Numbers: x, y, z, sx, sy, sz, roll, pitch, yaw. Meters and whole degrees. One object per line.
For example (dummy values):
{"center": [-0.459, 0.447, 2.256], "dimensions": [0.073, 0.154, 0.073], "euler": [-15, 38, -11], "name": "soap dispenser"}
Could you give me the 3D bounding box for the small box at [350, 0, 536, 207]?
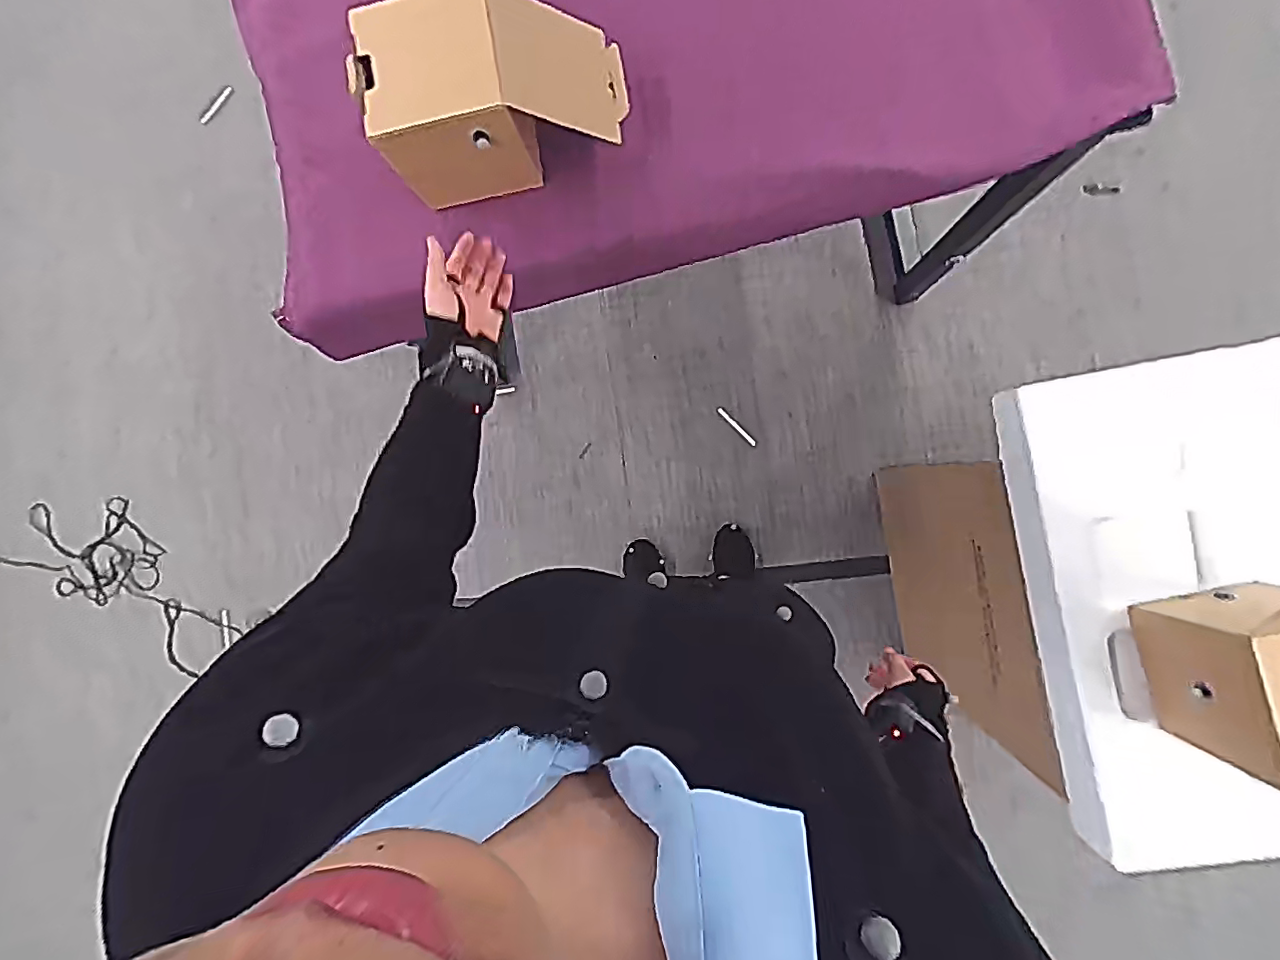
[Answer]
{"center": [-0.248, -0.499, 0.724], "dimensions": [0.179, 0.176, 0.168], "euler": [-10, 87, 6], "name": "small box"}
